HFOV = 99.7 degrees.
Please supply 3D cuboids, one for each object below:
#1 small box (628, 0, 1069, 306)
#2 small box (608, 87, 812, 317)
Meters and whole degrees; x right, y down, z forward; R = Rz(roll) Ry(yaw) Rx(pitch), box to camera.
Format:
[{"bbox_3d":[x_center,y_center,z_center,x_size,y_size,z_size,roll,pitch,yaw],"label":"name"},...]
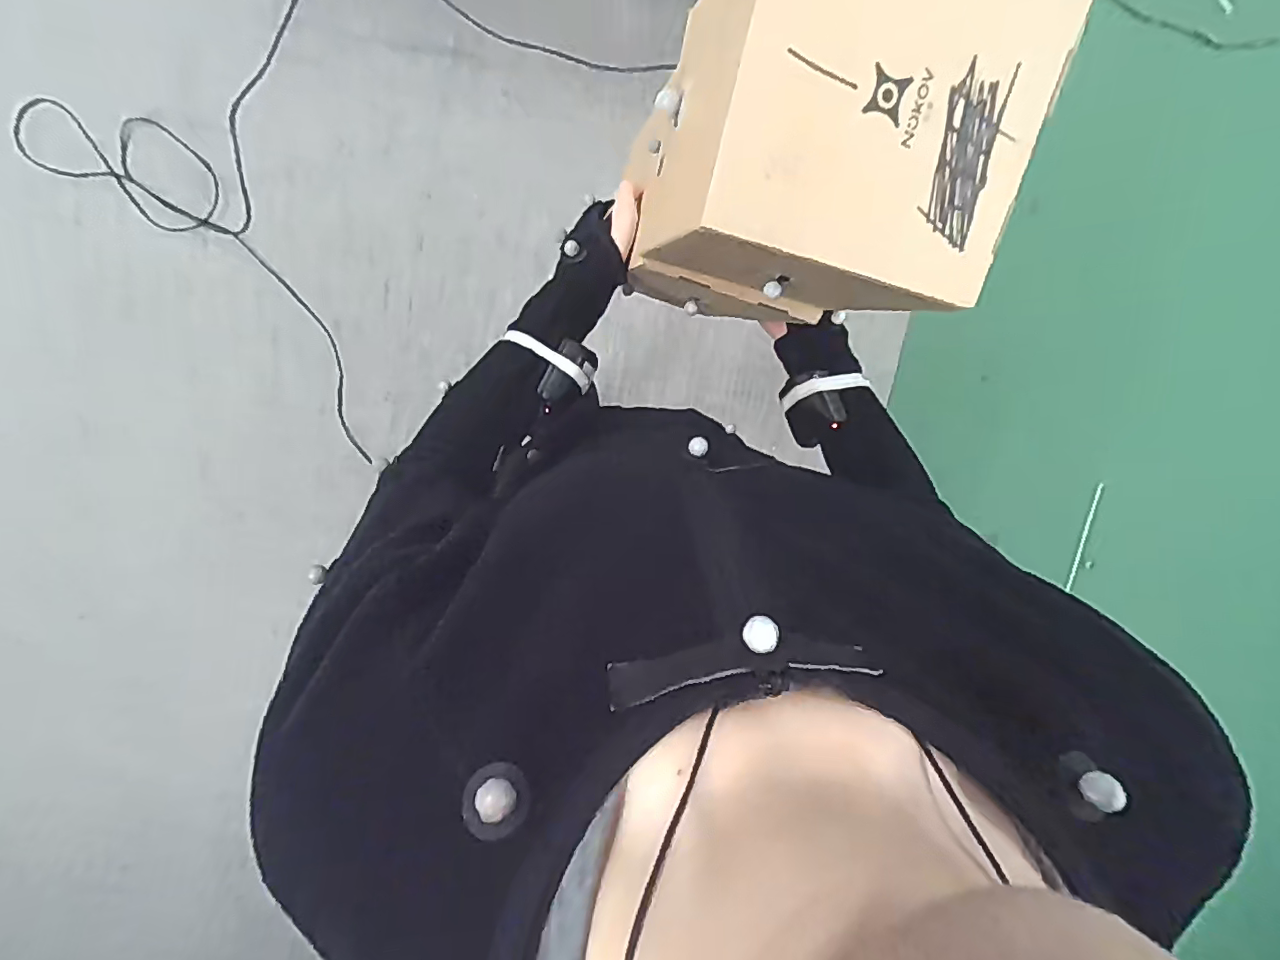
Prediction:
[{"bbox_3d":[0.104,-0.217,0.347,0.179,0.176,0.168,10,105,-15],"label":"small box"},{"bbox_3d":[0.076,-0.263,0.503,0.168,0.176,0.179,13,104,-15],"label":"small box"}]
